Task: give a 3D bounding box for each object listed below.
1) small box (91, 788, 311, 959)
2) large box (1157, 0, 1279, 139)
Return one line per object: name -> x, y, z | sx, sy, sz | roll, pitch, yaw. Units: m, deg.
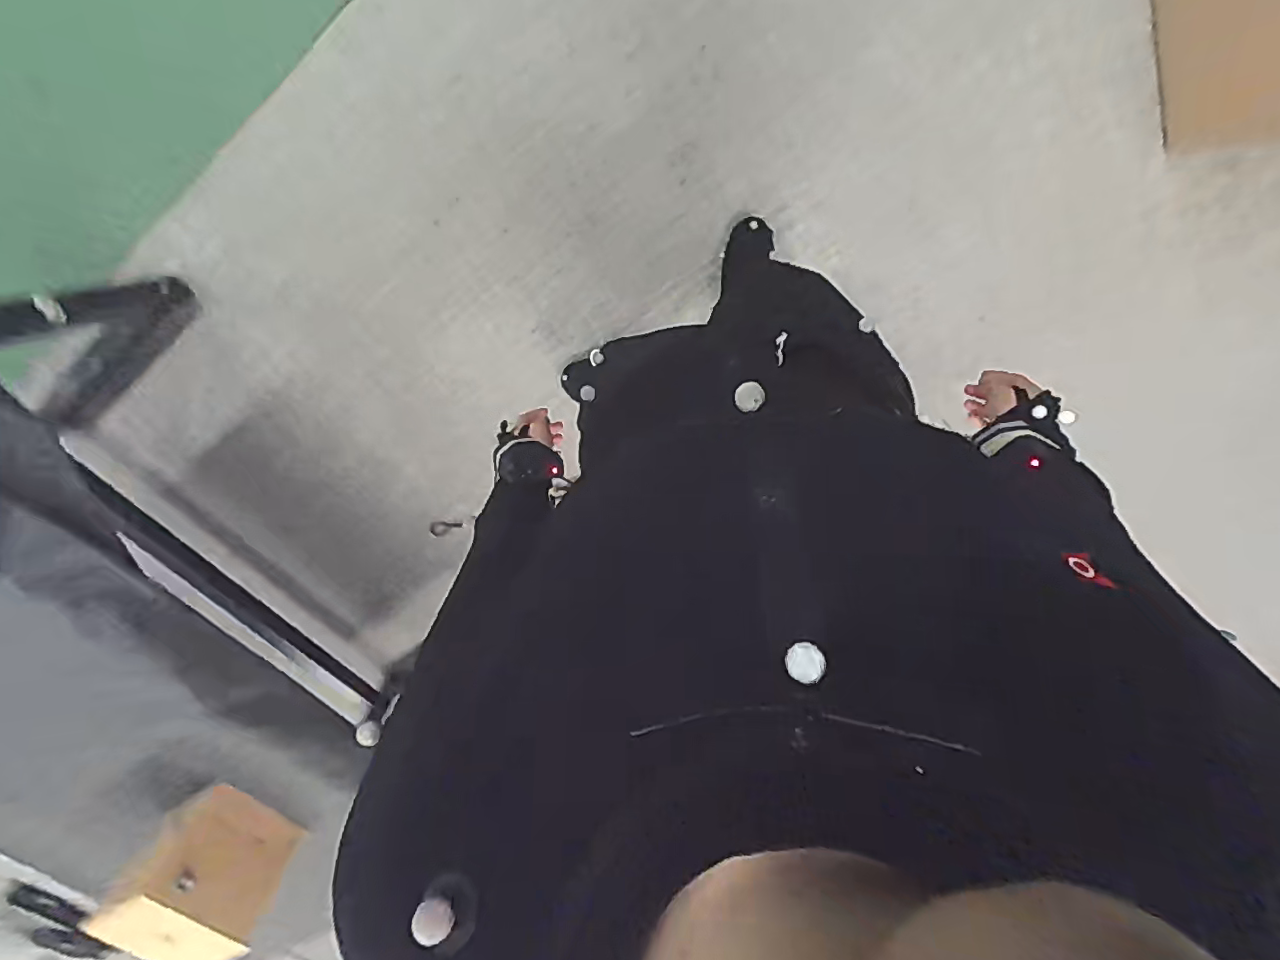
small box -> -0.675, 0.631, 0.856 | 0.168, 0.176, 0.179 | -35, 110, 17
large box -> 1.097, -0.830, 0.838 | 0.320, 0.320, 0.408 | -27, 114, 14
